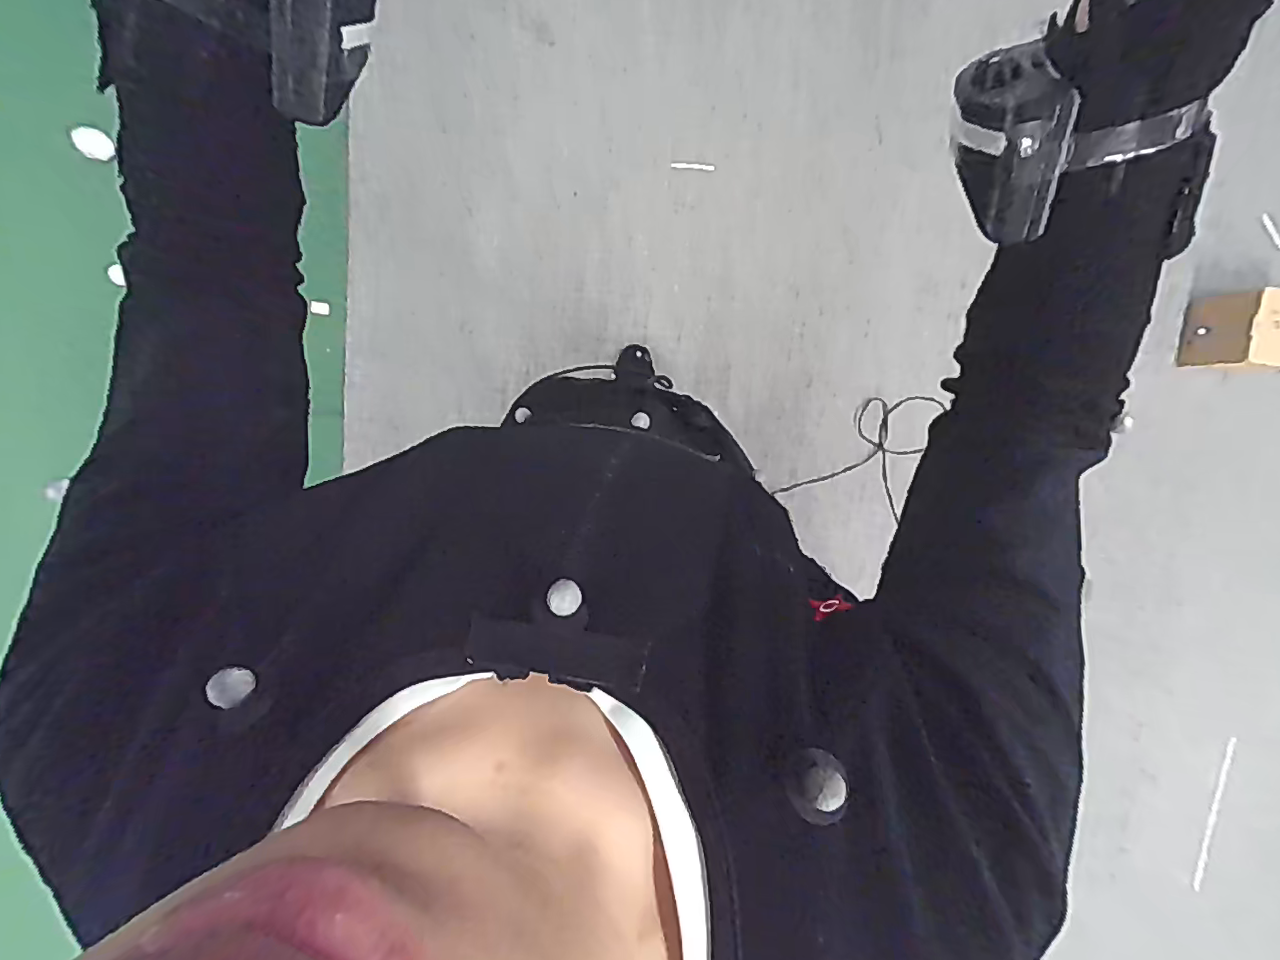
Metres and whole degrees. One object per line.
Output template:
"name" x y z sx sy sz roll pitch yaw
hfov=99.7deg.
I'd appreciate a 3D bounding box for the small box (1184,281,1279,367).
"small box" 1.445 -0.355 1.255 0.179 0.176 0.168 6 98 3
